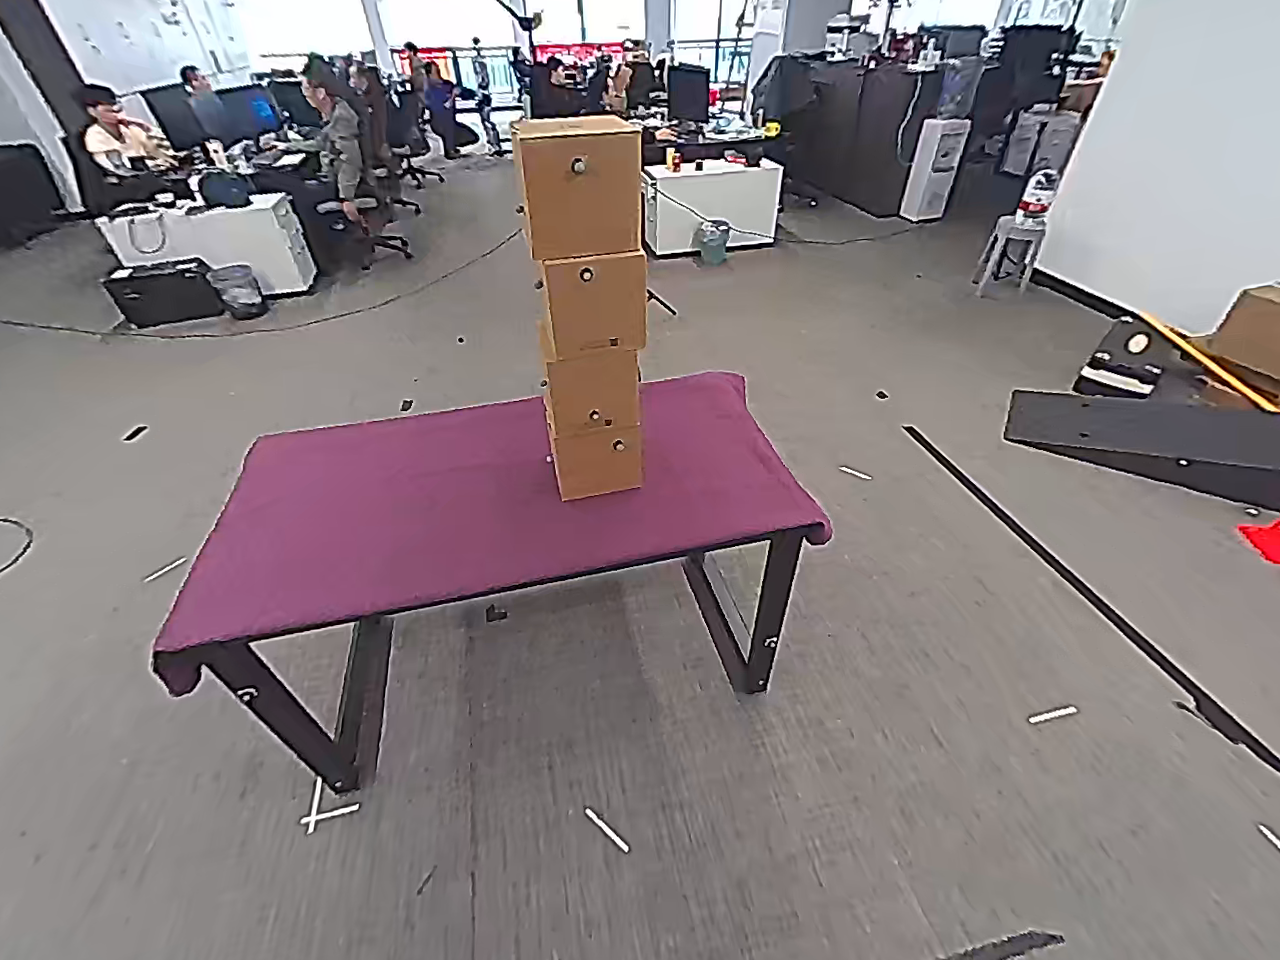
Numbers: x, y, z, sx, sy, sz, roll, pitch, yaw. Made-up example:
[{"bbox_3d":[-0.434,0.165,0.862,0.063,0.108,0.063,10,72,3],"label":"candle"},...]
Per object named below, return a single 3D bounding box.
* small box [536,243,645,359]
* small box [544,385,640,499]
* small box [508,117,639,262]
[{"bbox_3d":[-0.092,-0.334,0.961,0.168,0.176,0.179,-11,41,-10],"label":"small box"},{"bbox_3d":[-0.103,-0.081,1.170,0.179,0.176,0.168,-11,41,-10],"label":"small box"},{"bbox_3d":[-0.105,-0.464,0.863,0.179,0.176,0.168,-11,42,-11],"label":"small box"}]
